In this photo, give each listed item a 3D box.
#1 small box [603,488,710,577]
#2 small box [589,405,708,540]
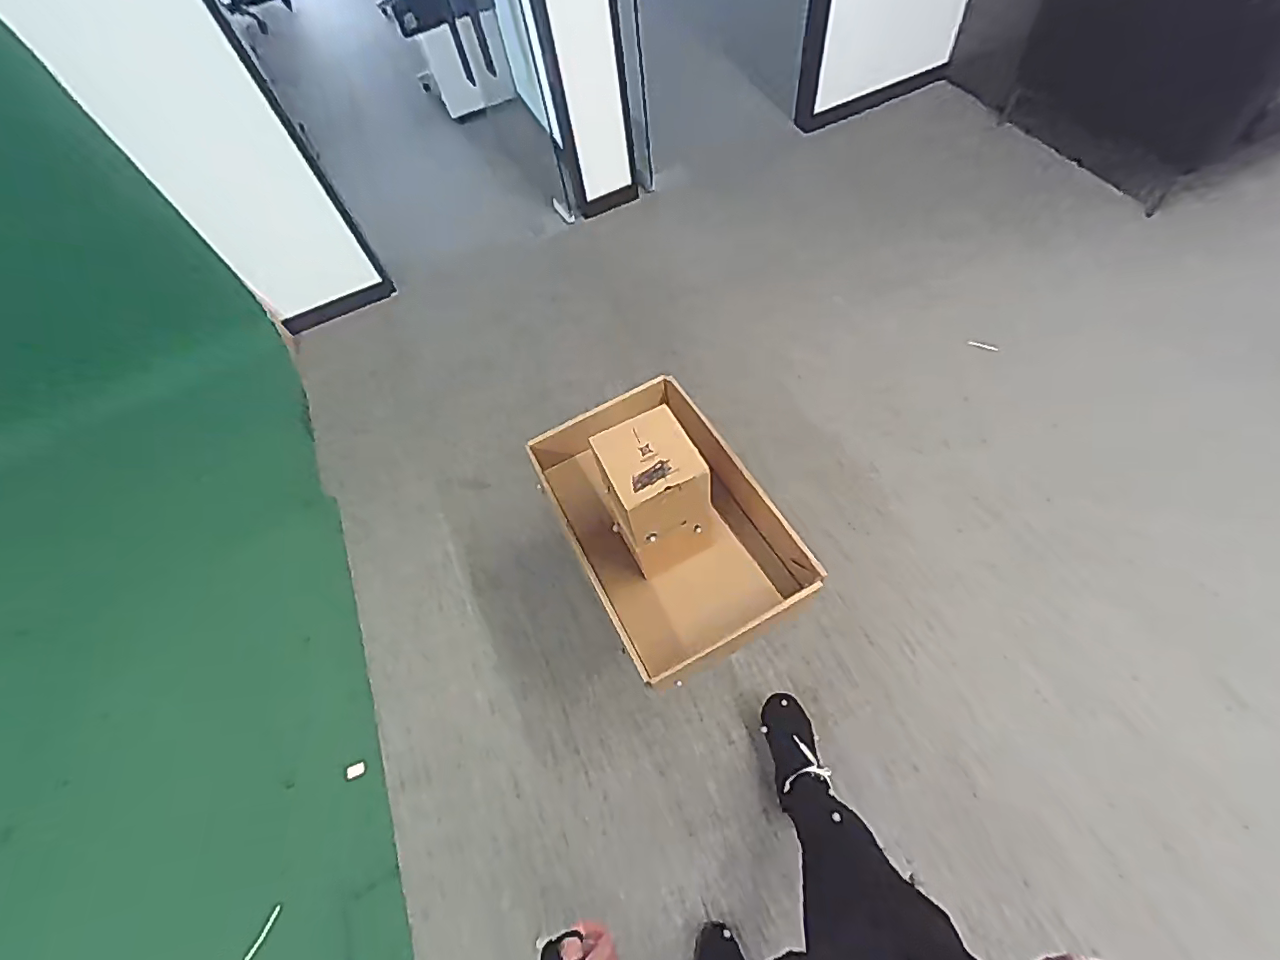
[{"bbox_3d":[0.042,0.084,1.174,0.179,0.176,0.168,-27,59,-9],"label":"small box"},{"bbox_3d":[0.023,-0.005,1.037,0.168,0.176,0.179,-25,59,-8],"label":"small box"}]
